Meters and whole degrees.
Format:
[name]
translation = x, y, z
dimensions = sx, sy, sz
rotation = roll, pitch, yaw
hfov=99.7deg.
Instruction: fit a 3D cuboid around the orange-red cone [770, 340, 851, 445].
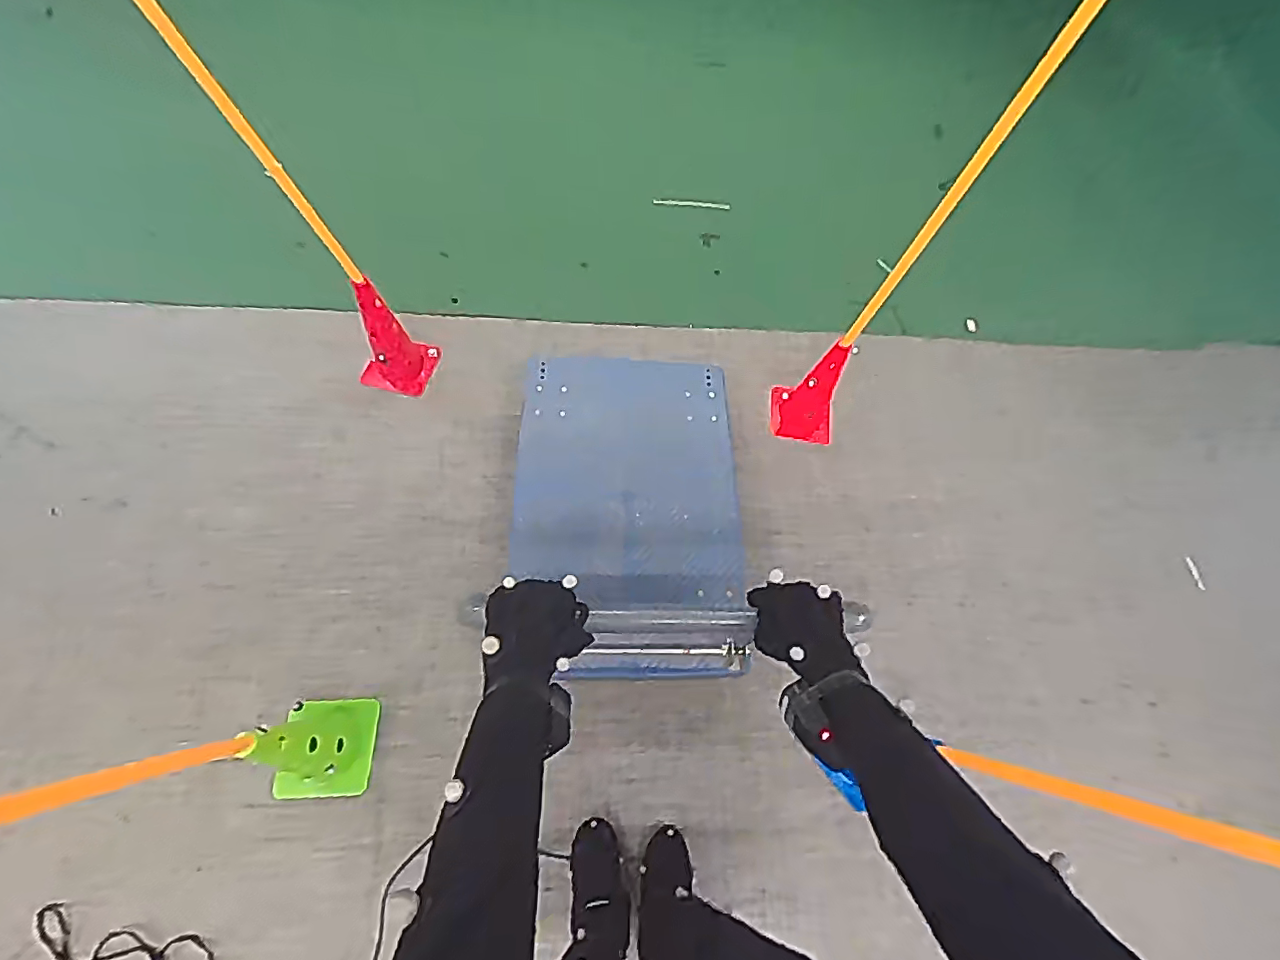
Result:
[orange-red cone]
translation = 0.540, -0.285, 1.615
dimensions = 0.198, 0.360, 0.199
rotation = 11, 63, 1
